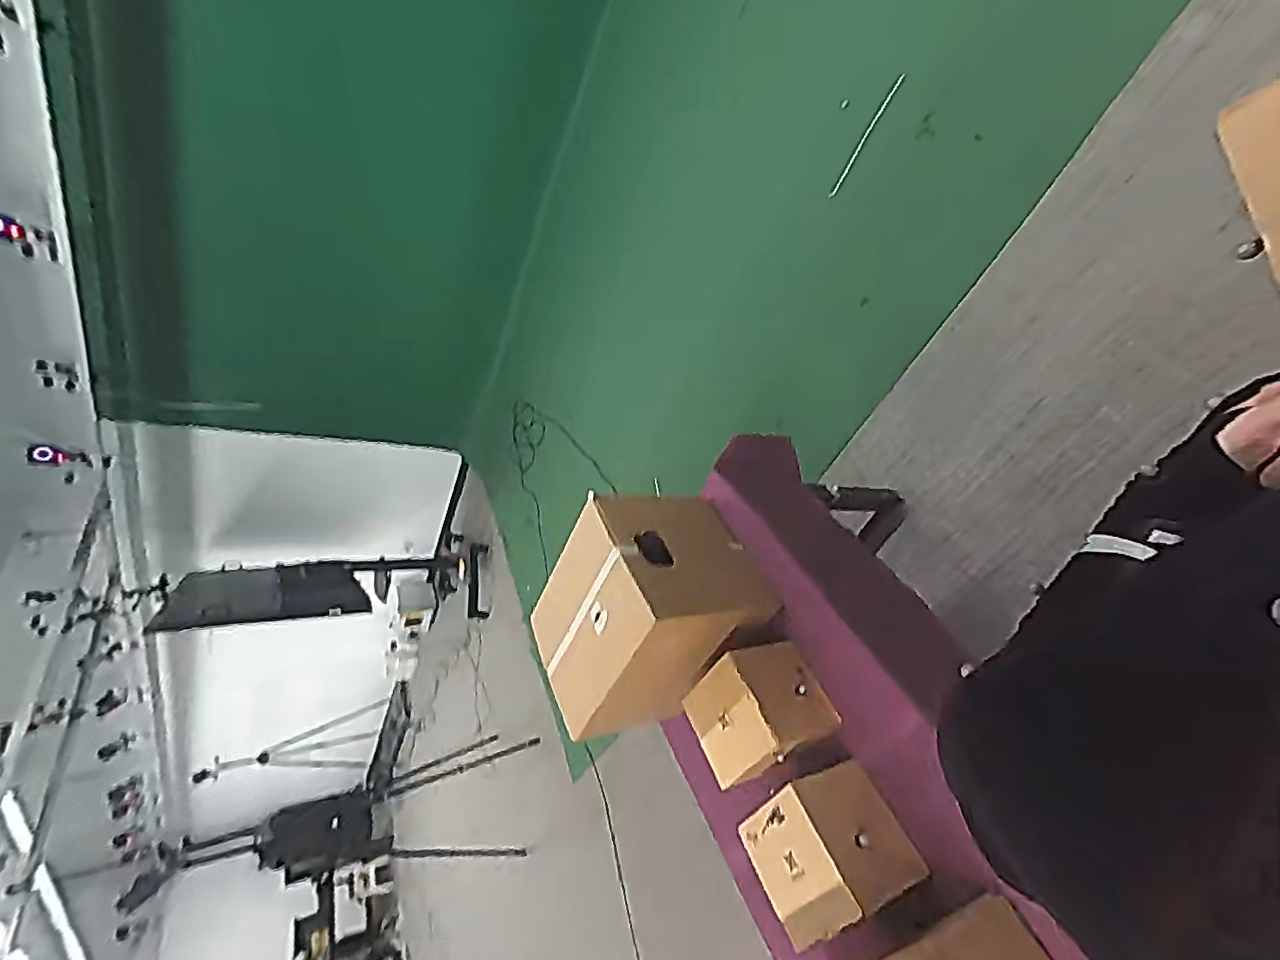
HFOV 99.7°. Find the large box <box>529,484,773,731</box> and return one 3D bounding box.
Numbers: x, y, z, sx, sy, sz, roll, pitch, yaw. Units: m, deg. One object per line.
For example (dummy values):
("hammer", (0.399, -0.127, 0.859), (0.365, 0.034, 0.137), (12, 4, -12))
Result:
("large box", (0.003, 0.267, 1.160), (0.408, 0.320, 0.320), (-60, 43, 30))
